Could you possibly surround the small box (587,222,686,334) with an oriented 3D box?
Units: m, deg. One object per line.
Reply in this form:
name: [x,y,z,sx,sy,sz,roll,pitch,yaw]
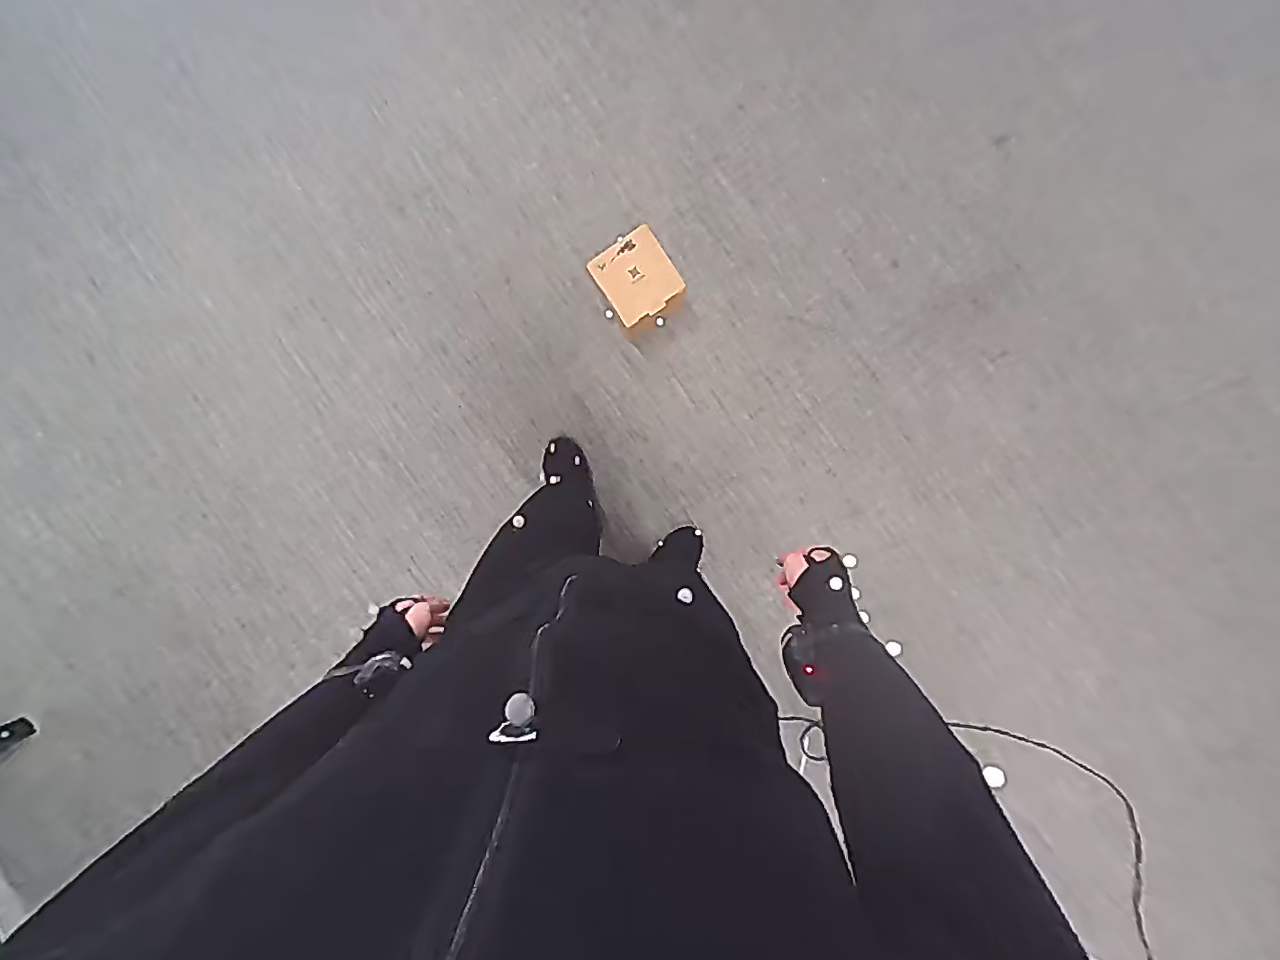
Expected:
small box: [-0.003,-0.470,1.297,0.168,0.176,0.179,-33,91,4]
